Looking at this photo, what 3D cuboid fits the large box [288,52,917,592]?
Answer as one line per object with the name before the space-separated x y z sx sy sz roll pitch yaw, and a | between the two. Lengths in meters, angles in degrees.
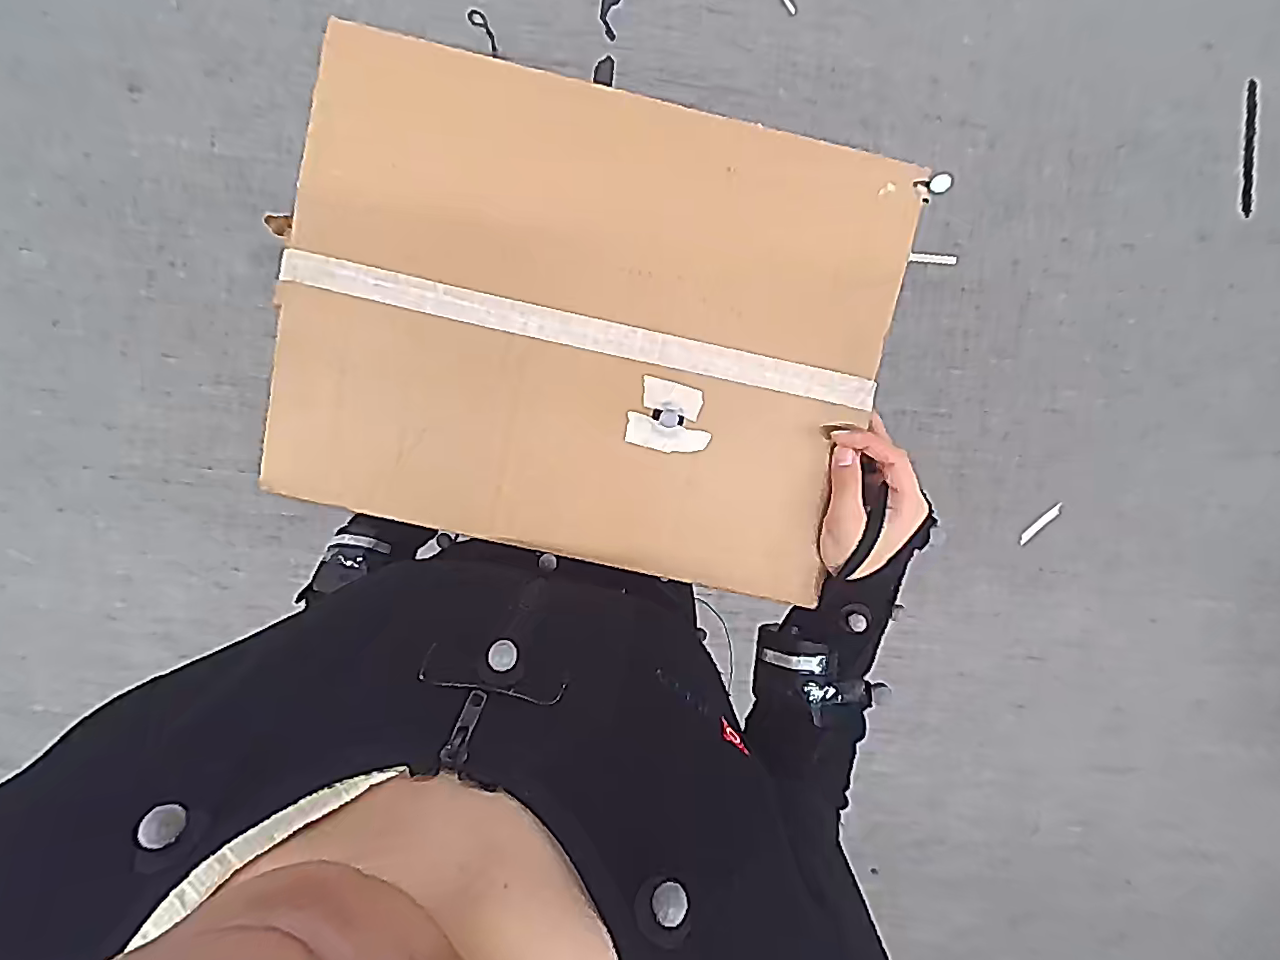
large box | -0.035 -0.114 0.528 0.408 0.320 0.320 12 96 -3
